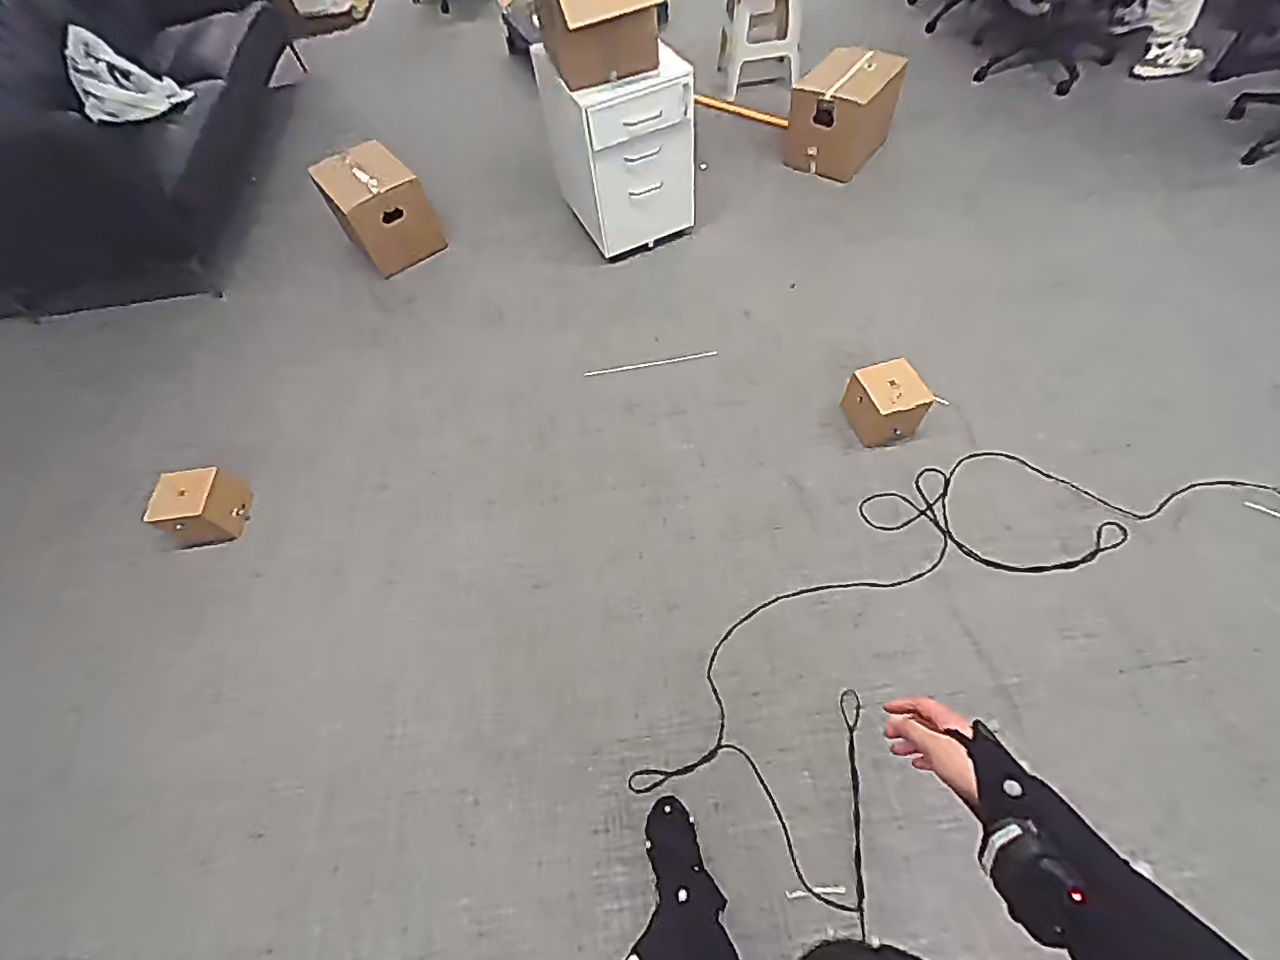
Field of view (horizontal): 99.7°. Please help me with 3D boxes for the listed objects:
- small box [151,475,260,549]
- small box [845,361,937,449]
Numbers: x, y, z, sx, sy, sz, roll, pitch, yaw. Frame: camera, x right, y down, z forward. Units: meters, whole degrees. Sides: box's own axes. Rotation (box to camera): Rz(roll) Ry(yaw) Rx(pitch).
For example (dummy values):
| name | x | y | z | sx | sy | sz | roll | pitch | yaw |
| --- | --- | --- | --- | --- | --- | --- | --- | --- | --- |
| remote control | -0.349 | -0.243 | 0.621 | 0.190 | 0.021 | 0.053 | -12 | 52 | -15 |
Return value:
| name | x | y | z | sx | sy | sz | roll | pitch | yaw |
| --- | --- | --- | --- | --- | --- | --- | --- | --- | --- |
| small box | -1.340 | 0.104 | 1.679 | 0.179 | 0.176 | 0.168 | -8 | 59 | 0 |
| small box | 0.743 | -0.222 | 1.626 | 0.168 | 0.176 | 0.179 | -16 | 59 | -4 |
